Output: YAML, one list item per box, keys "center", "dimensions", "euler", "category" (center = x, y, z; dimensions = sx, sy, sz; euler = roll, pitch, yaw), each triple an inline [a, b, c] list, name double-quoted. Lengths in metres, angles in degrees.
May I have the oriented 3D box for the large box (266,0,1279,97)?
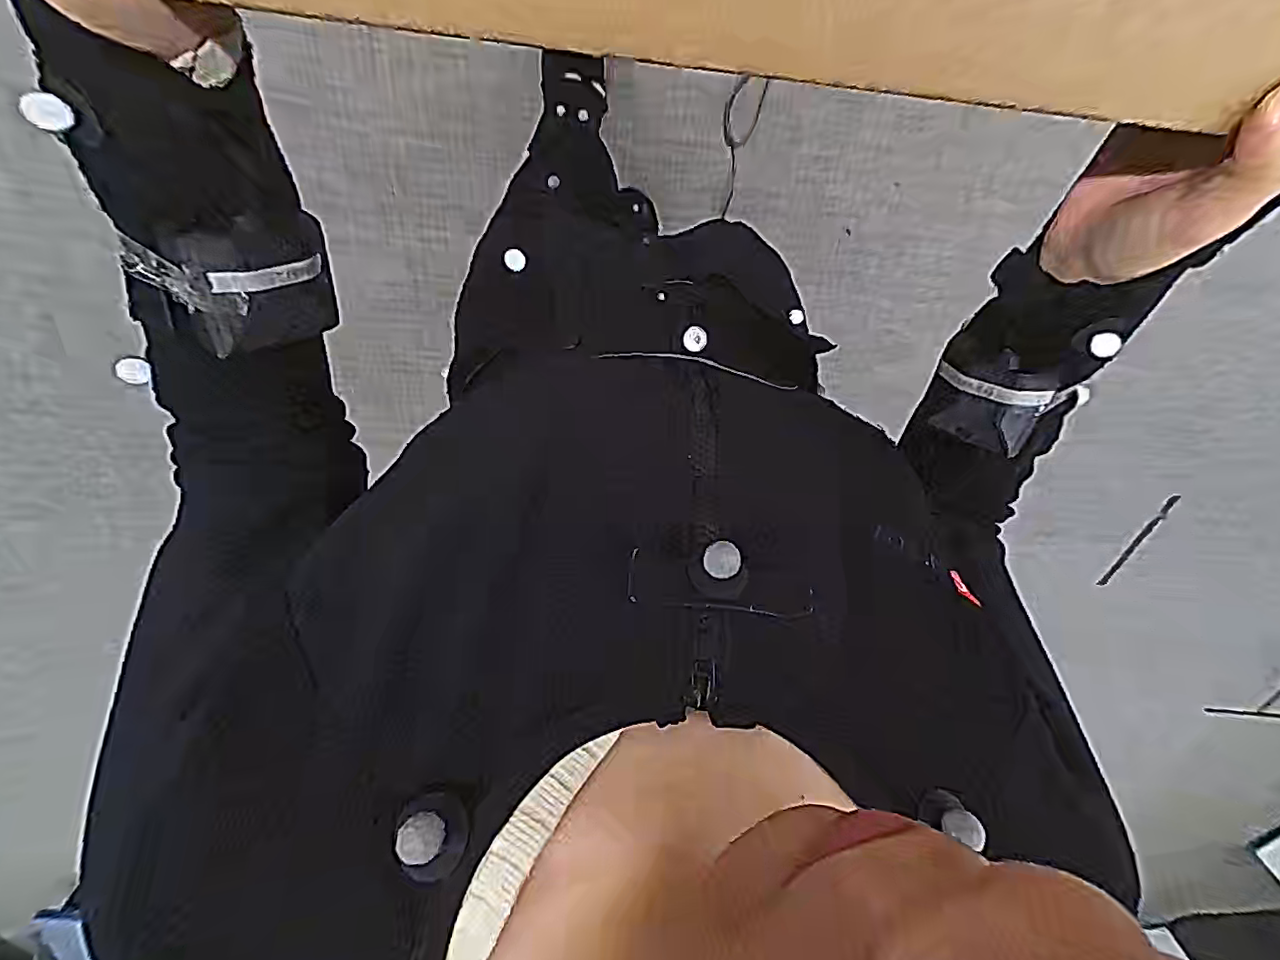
- center: [0.066, -0.354, 0.136]
  dimensions: [0.408, 0.320, 0.320]
  euler: [3, 149, -4]
  category: "large box"
